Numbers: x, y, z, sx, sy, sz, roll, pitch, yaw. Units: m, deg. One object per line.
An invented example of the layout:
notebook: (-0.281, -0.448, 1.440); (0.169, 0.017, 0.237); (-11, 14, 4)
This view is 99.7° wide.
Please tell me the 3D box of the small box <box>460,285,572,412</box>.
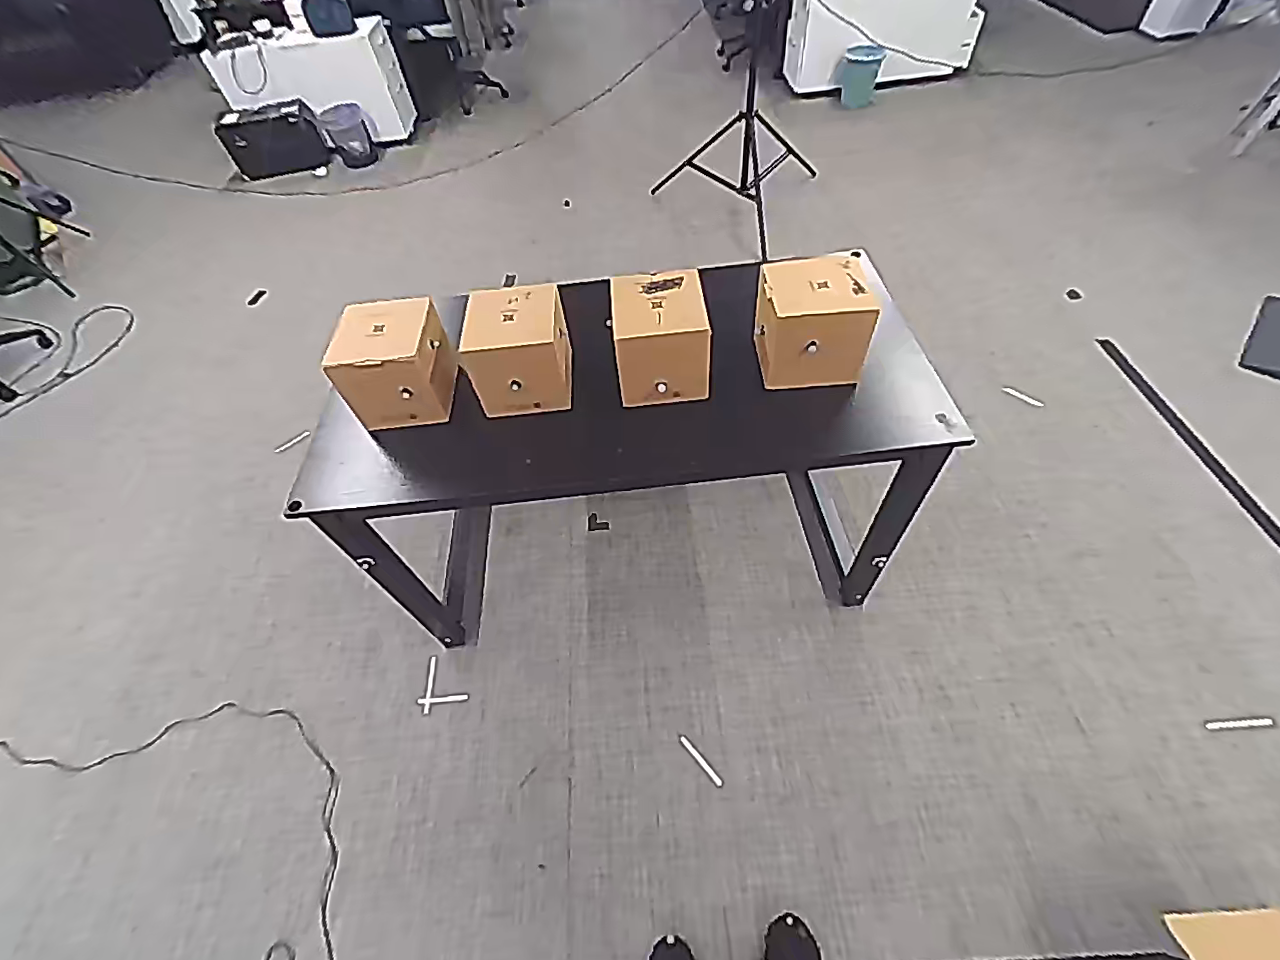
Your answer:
small box: (-0.226, -0.243, 1.034); (0.168, 0.176, 0.179); (-5, 53, 1)

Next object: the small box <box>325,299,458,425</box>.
small box: (-0.464, -0.219, 1.042); (0.168, 0.176, 0.179); (-6, 52, 0)

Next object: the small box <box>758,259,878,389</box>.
small box: (0.318, -0.287, 1.012); (0.179, 0.176, 0.168); (-4, 53, 4)

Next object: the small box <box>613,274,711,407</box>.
small box: (0.039, -0.262, 1.022); (0.168, 0.176, 0.179); (-6, 54, 2)
